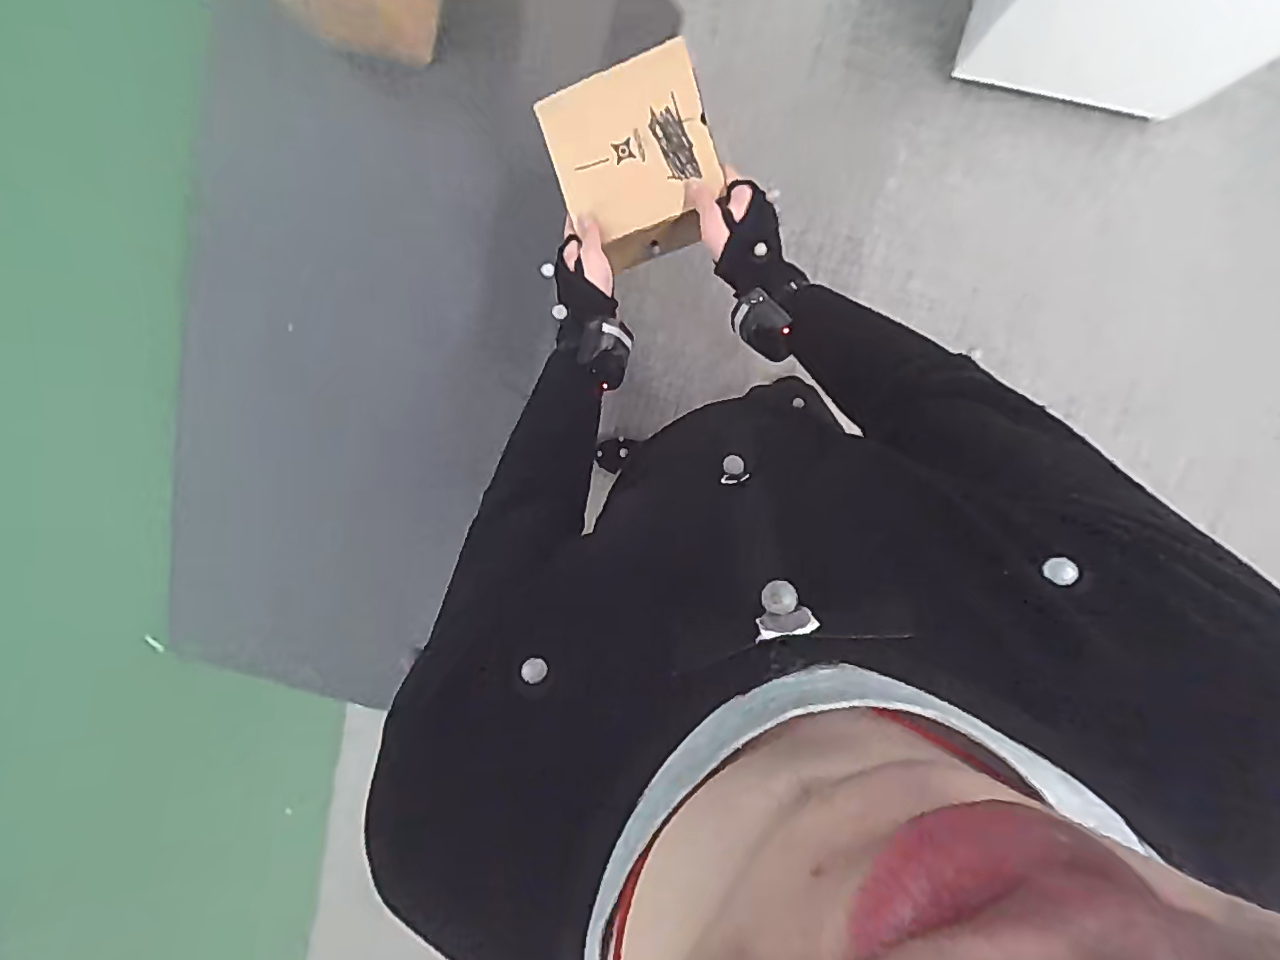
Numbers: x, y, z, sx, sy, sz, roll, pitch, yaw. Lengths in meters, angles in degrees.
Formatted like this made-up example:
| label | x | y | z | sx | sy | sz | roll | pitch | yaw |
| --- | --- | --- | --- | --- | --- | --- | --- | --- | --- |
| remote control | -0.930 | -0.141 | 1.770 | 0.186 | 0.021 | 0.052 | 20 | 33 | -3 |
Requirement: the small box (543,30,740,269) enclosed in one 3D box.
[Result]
| label | x | y | z | sx | sy | sz | roll | pitch | yaw |
| --- | --- | --- | --- | --- | --- | --- | --- | --- | --- |
| small box | 0.008 | -0.372 | 0.647 | 0.179 | 0.176 | 0.168 | -16 | 99 | 9 |
